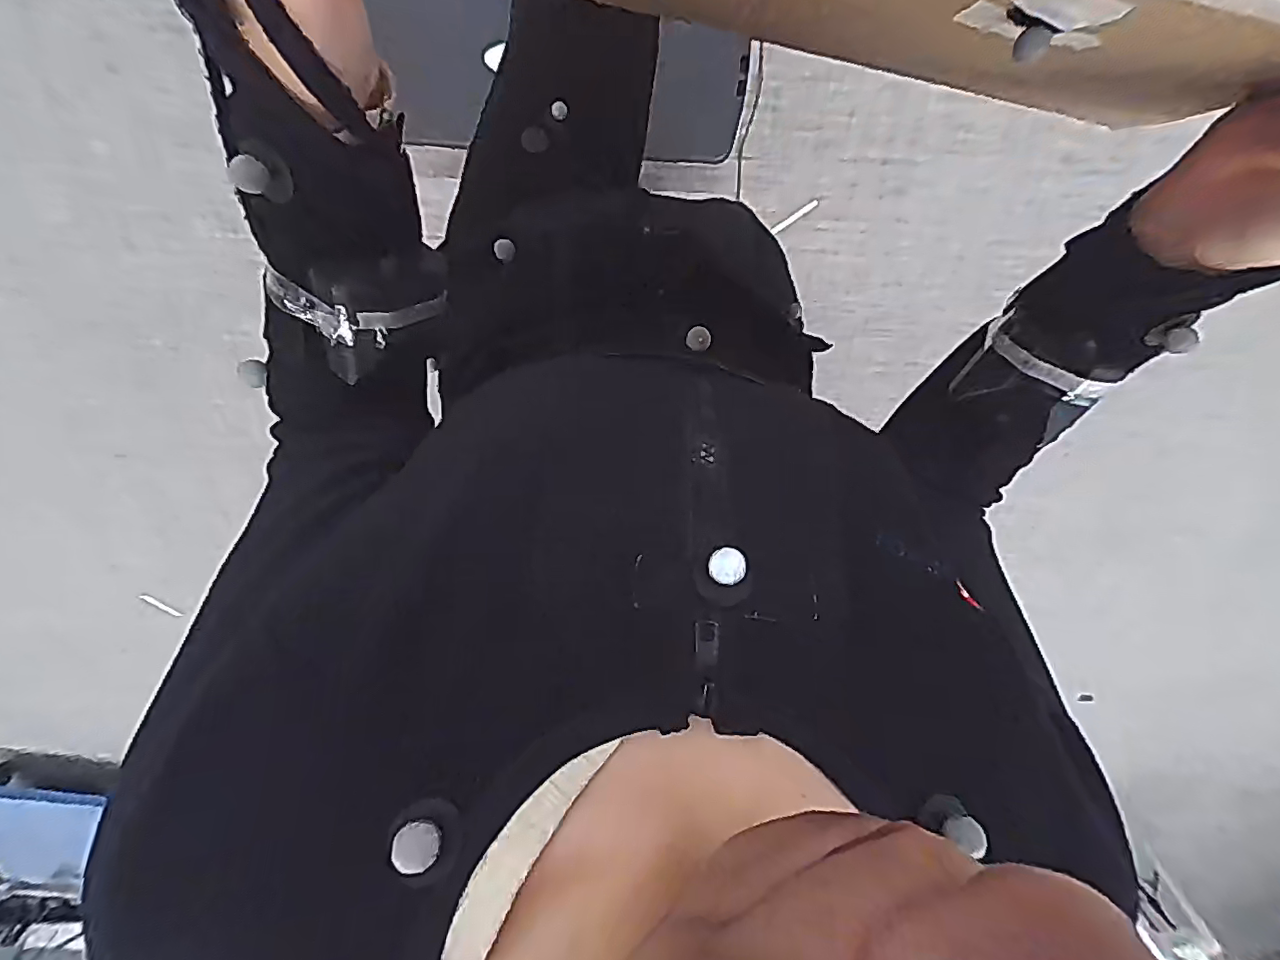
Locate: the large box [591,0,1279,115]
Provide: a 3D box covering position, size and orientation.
[{"bbox_3d":[0.113,-0.318,0.104,0.408,0.320,0.320,7,114,-6],"label":"large box"}]
